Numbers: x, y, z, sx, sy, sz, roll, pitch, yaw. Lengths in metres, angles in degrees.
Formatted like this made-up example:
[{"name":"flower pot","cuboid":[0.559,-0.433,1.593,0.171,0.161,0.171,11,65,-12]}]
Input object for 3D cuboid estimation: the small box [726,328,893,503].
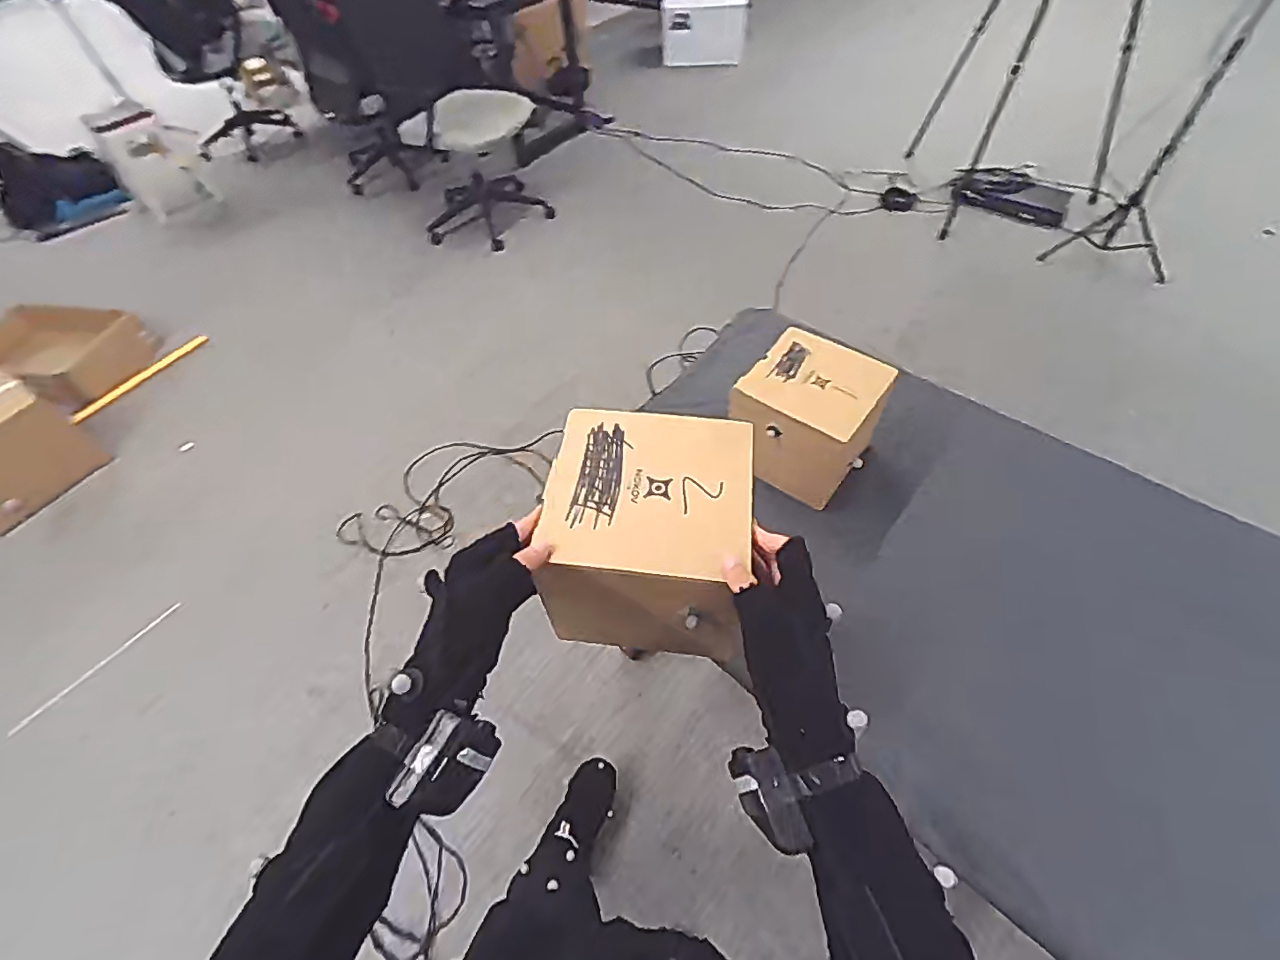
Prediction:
[{"name":"small box","cuboid":[0.245,-0.094,0.826,0.179,0.176,0.168,32,63,24]}]
